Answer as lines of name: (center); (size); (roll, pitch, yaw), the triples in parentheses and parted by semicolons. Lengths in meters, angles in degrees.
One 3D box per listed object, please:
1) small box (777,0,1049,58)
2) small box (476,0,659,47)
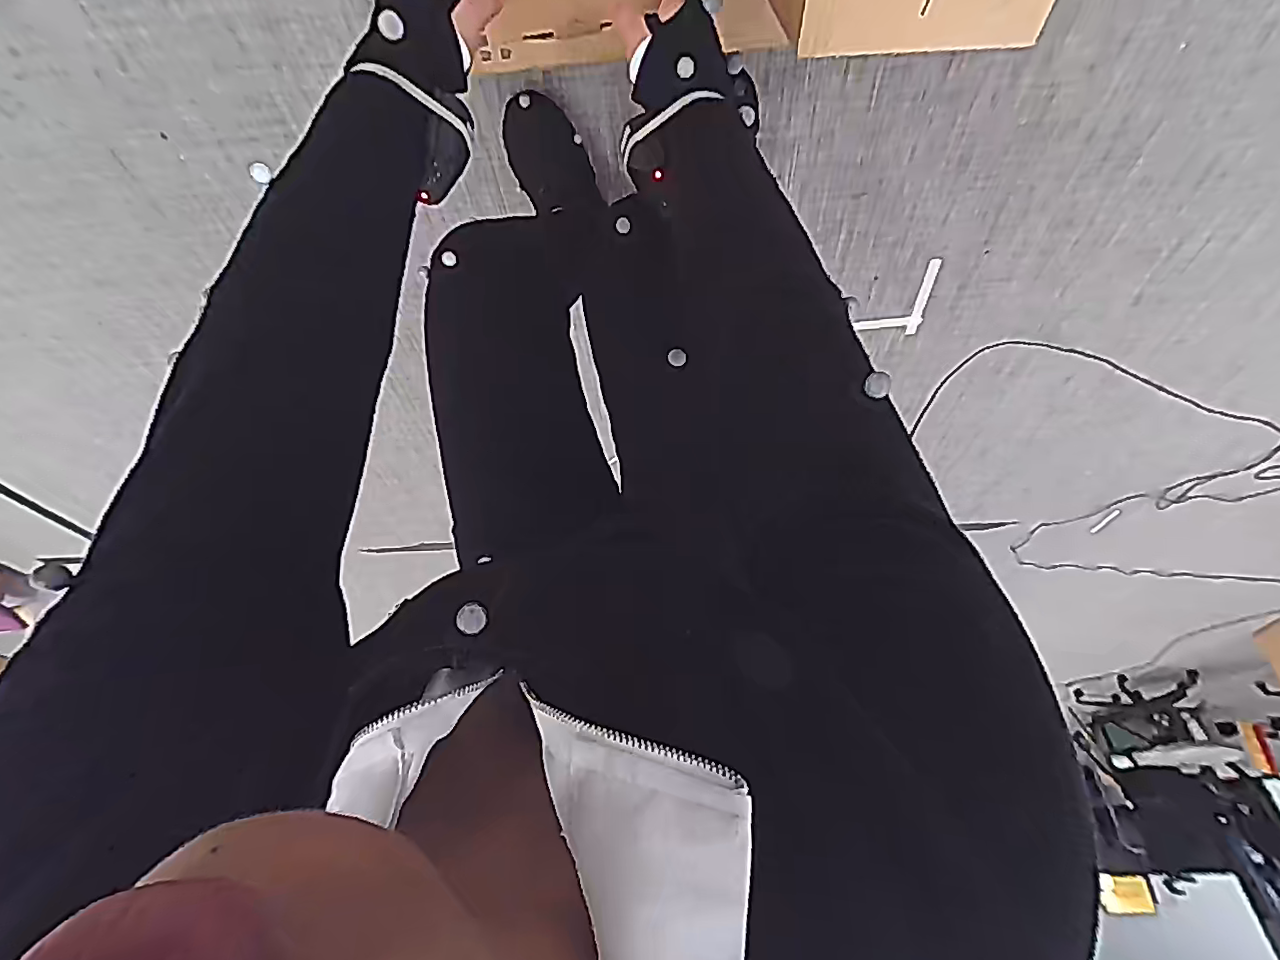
small box: (0.185, -0.414, 0.355); (0.168, 0.176, 0.179); (-1, 145, 1)
small box: (-0.072, -0.526, 0.474); (0.168, 0.176, 0.179); (-5, 145, 5)
